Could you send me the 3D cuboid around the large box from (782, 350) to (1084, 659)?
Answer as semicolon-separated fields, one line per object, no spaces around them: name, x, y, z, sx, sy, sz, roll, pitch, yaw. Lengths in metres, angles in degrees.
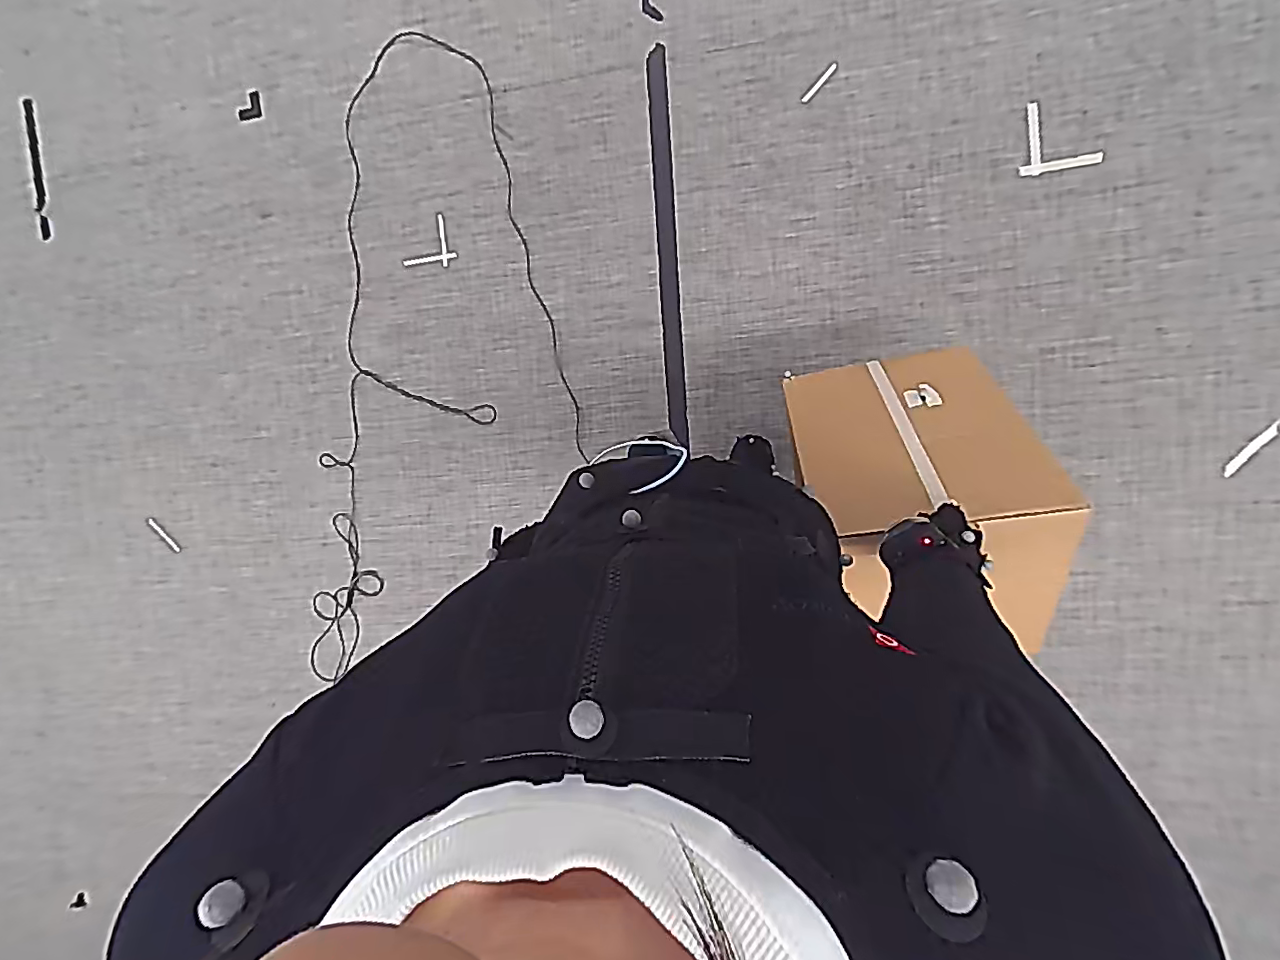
large box;0.441;0.036;0.920;0.320;0.408;0.320;-9;129;12
